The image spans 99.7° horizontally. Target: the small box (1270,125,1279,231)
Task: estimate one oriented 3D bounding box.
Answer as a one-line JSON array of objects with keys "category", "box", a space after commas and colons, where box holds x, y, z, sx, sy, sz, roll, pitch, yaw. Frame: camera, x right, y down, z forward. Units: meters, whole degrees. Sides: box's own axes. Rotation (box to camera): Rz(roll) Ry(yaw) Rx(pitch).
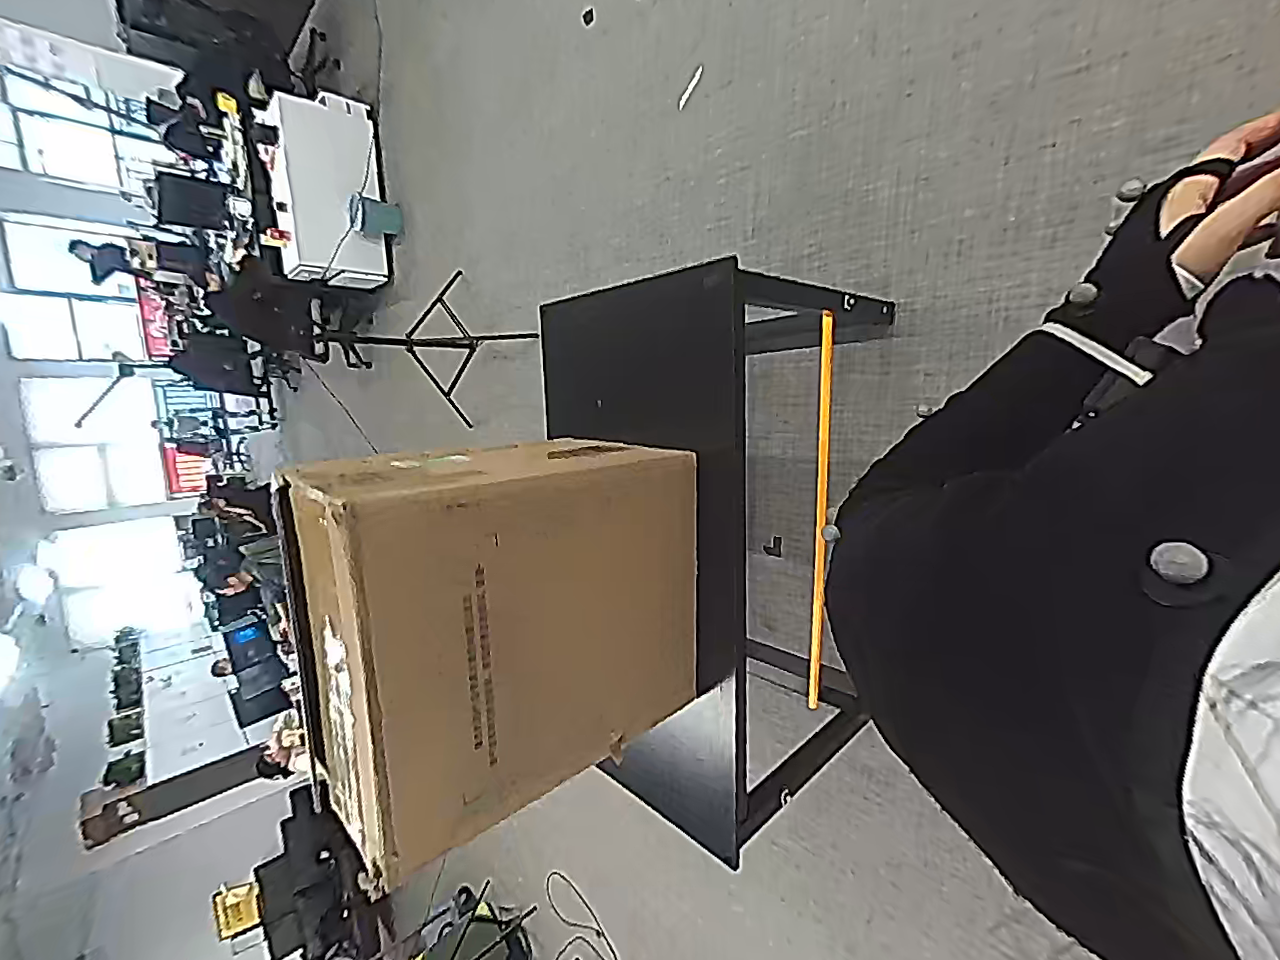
[{"category": "small box", "box": [0.504, -0.255, 0.314, 0.168, 0.176, 0.179, 7, 102, 46]}]
